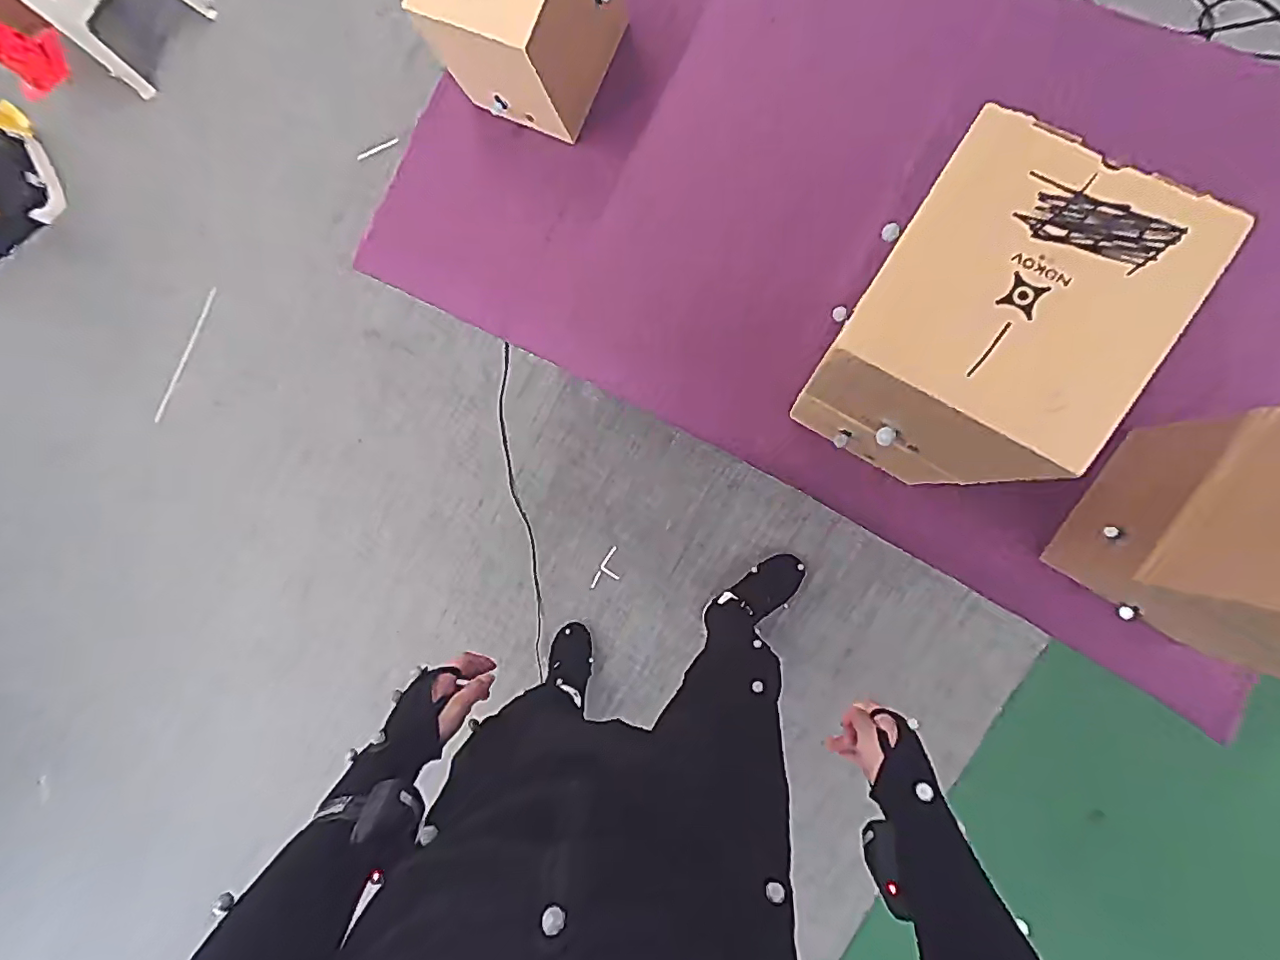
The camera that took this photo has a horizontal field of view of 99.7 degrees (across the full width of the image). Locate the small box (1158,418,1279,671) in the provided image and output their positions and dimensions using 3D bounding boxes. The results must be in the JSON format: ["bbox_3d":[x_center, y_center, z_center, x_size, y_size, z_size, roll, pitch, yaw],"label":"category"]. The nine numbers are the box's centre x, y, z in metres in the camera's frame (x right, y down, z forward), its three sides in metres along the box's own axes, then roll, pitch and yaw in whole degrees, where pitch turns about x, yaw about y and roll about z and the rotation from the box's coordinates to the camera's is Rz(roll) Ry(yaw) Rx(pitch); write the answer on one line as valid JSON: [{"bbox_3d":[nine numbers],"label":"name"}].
[{"bbox_3d":[0.512,0.056,0.349,0.168,0.176,0.179,34,94,11],"label":"small box"}]

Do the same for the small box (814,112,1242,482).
[{"bbox_3d":[0.250,-0.113,0.408,0.168,0.176,0.179,33,95,11],"label":"small box"}]

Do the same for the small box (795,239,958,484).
[{"bbox_3d":[0.278,-0.107,0.570,0.168,0.176,0.179,32,94,10],"label":"small box"}]

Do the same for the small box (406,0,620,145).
[{"bbox_3d":[-0.138,-0.562,0.658,0.168,0.176,0.179,27,95,11],"label":"small box"}]
